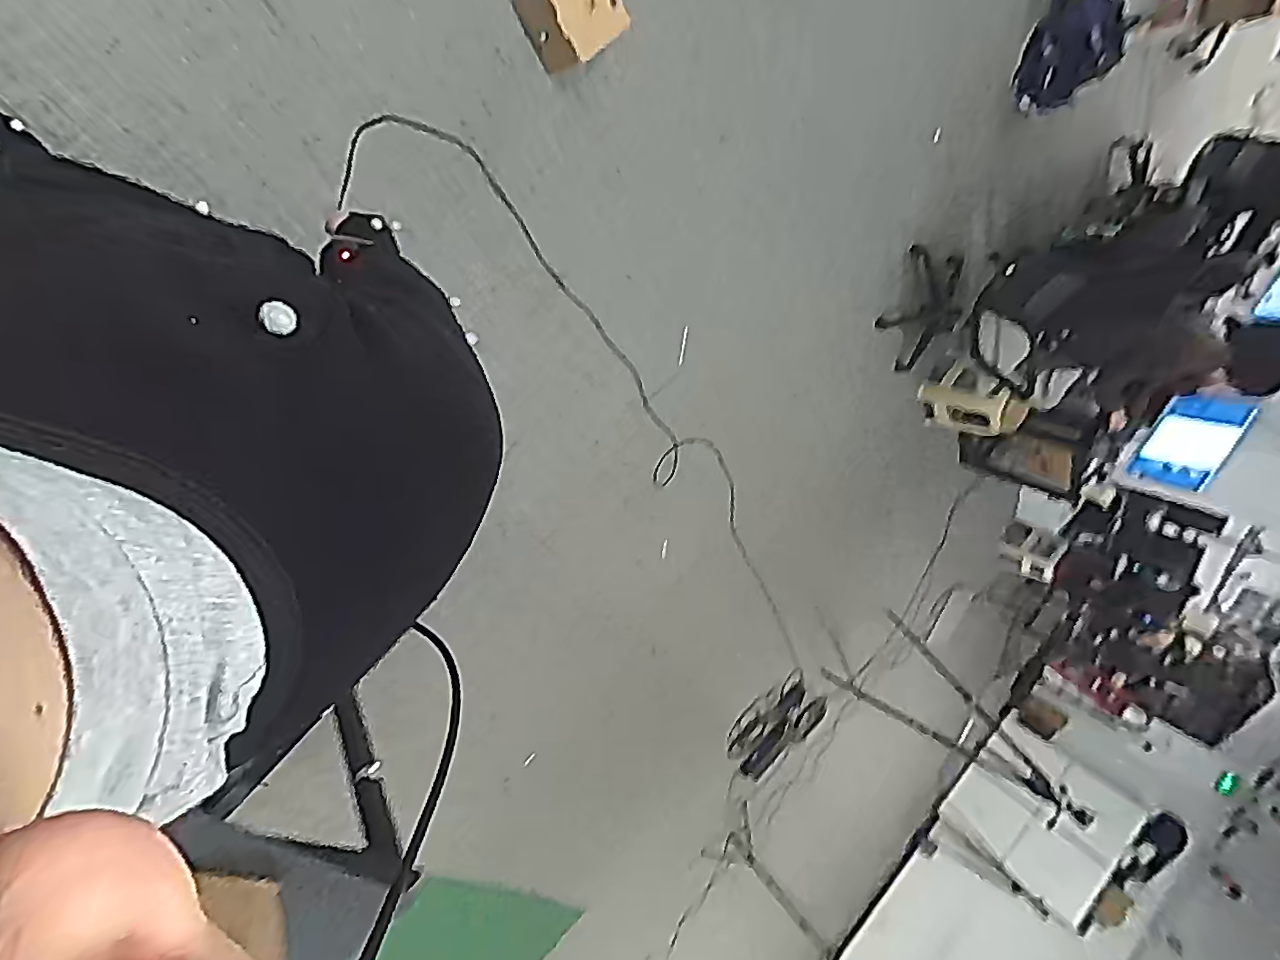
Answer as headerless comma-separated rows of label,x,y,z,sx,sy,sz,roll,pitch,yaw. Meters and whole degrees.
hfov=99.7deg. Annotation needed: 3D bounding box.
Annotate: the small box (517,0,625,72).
small box,-0.176,-1.132,1.309,0.179,0.176,0.168,-47,132,-10
